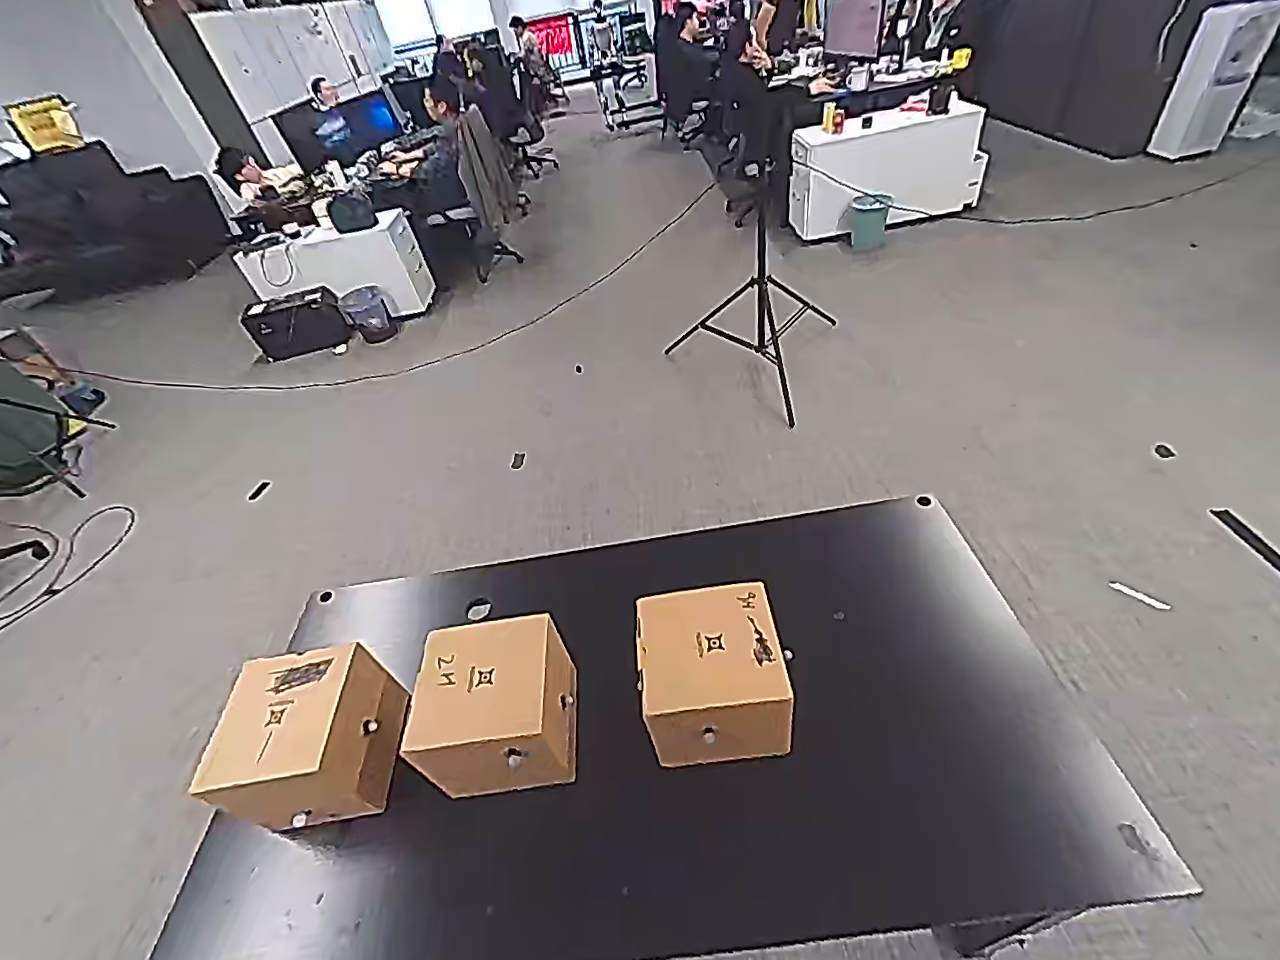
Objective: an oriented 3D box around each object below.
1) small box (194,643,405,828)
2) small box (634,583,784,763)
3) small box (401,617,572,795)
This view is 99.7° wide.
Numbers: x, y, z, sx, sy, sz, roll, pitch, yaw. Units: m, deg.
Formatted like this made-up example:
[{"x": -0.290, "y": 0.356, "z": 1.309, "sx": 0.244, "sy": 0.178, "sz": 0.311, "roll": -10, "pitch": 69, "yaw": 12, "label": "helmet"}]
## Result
[{"x": -0.457, "y": 0.361, "z": 0.766, "sx": 0.168, "sy": 0.176, "sz": 0.179, "roll": -11, "pitch": 44, "yaw": 2, "label": "small box"}, {"x": 0.094, "y": 0.267, "z": 0.739, "sx": 0.179, "sy": 0.176, "sz": 0.168, "roll": -9, "pitch": 43, "yaw": 5, "label": "small box"}, {"x": -0.195, "y": 0.316, "z": 0.753, "sx": 0.179, "sy": 0.176, "sz": 0.168, "roll": -9, "pitch": 42, "yaw": 2, "label": "small box"}]
